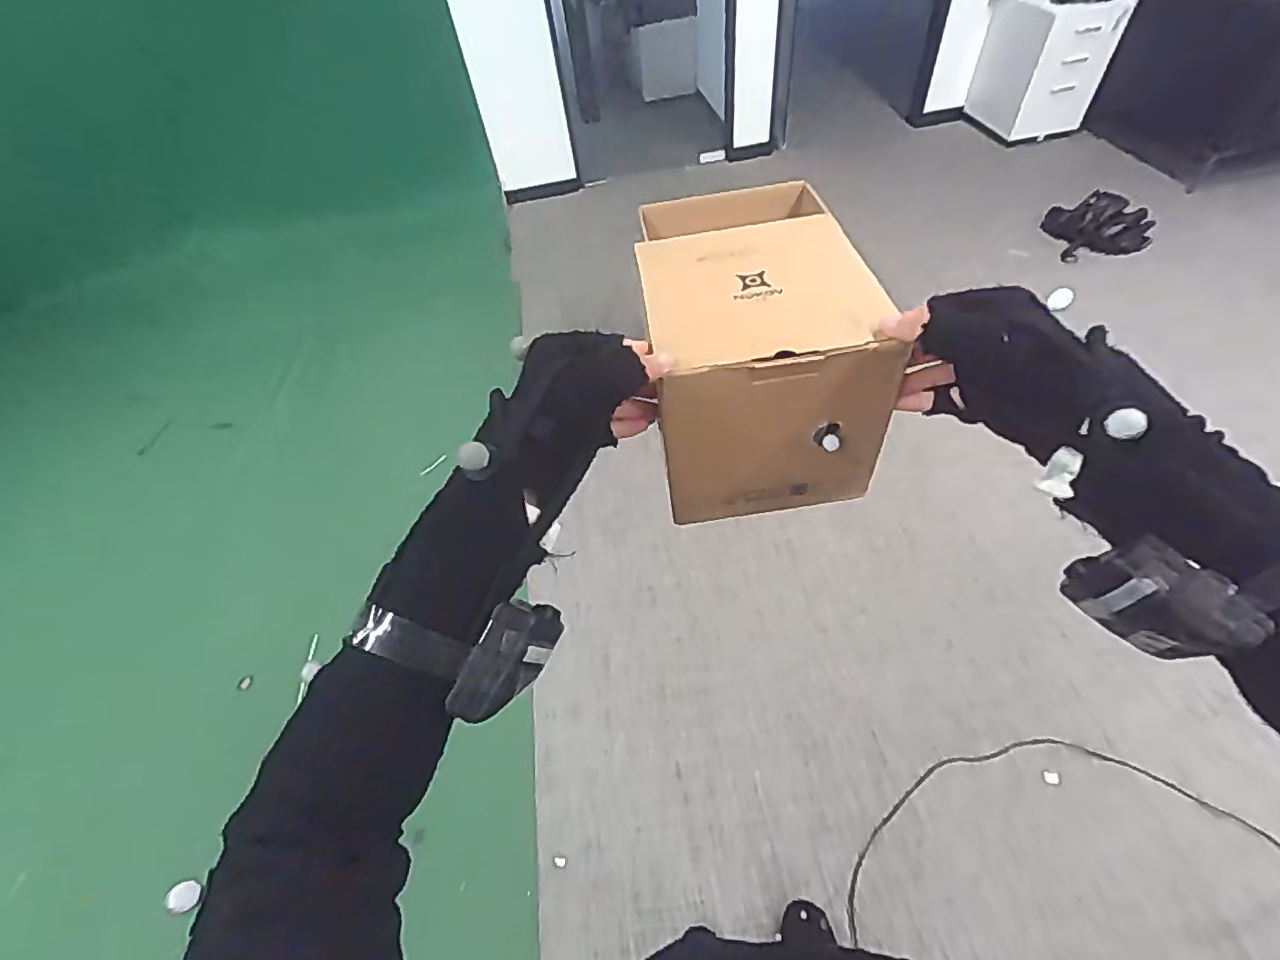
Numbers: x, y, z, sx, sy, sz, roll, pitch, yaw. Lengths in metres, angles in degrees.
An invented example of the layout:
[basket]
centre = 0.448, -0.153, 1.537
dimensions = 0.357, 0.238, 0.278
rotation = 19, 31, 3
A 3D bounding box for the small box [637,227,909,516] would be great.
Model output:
[small box]
centre = 0.095, -0.084, 0.459
dimensions = 0.168, 0.176, 0.179
rotation = -9, 48, 1
